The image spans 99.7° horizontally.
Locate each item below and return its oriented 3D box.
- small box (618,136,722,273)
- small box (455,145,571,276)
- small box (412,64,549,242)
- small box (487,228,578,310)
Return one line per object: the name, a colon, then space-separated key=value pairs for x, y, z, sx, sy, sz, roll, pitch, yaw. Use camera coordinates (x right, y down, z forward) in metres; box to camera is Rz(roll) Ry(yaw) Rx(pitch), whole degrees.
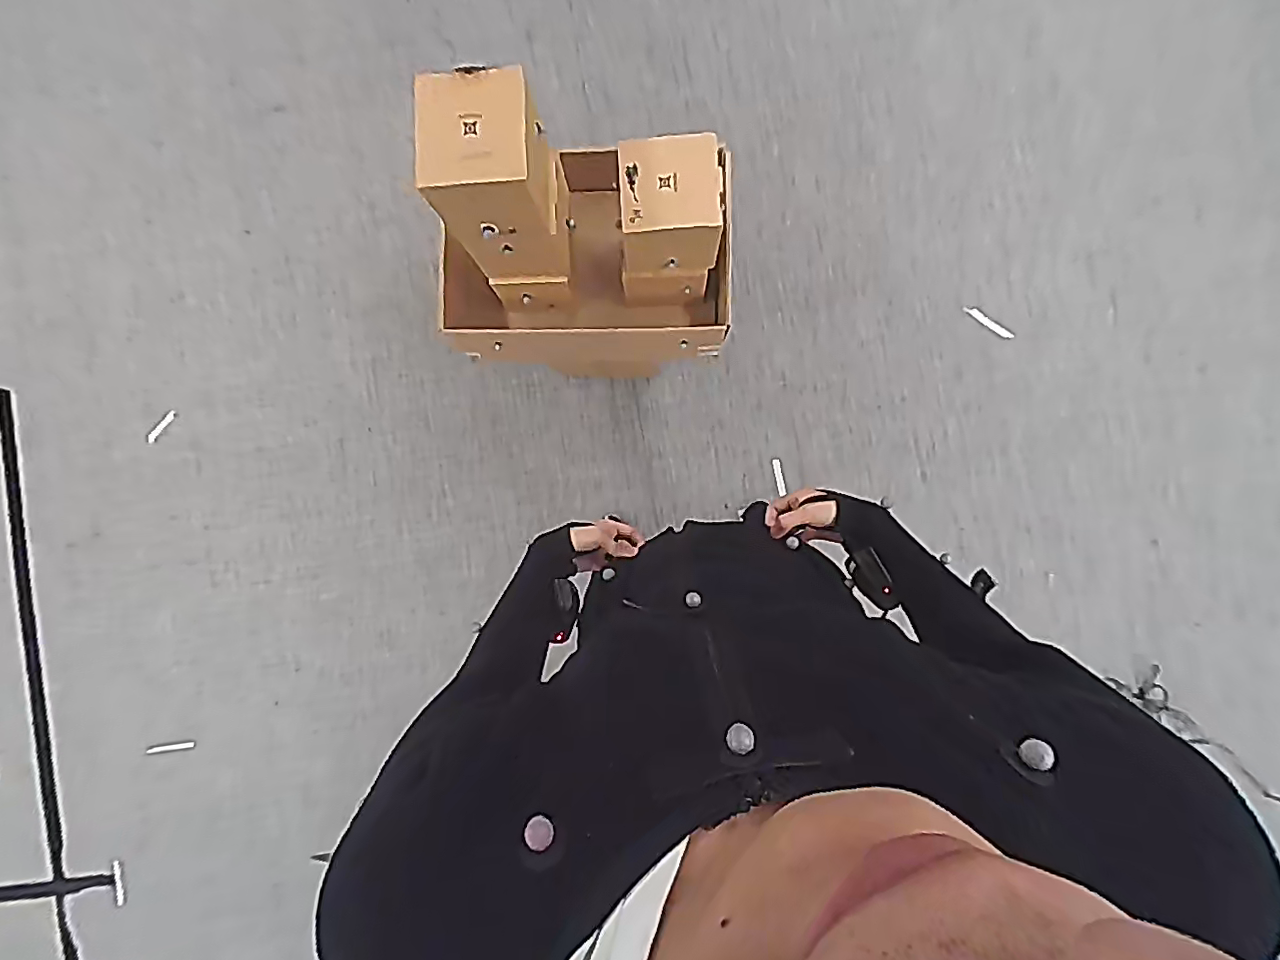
small box: x=0.053 y=-0.500 z=1.001 sx=0.179 sy=0.176 sz=0.168 roll=-3 pitch=87 yaw=3
small box: x=-0.231 y=-0.496 z=1.016 sx=0.179 sy=0.176 sz=0.168 roll=0 pitch=87 yaw=1
small box: x=-0.242 y=-0.503 z=0.853 sx=0.168 sy=0.176 sz=0.179 roll=-2 pitch=86 yaw=3
small box: x=-0.229 y=-0.481 z=1.180 sx=0.168 sy=0.176 sz=0.179 roll=-2 pitch=87 yaw=1
